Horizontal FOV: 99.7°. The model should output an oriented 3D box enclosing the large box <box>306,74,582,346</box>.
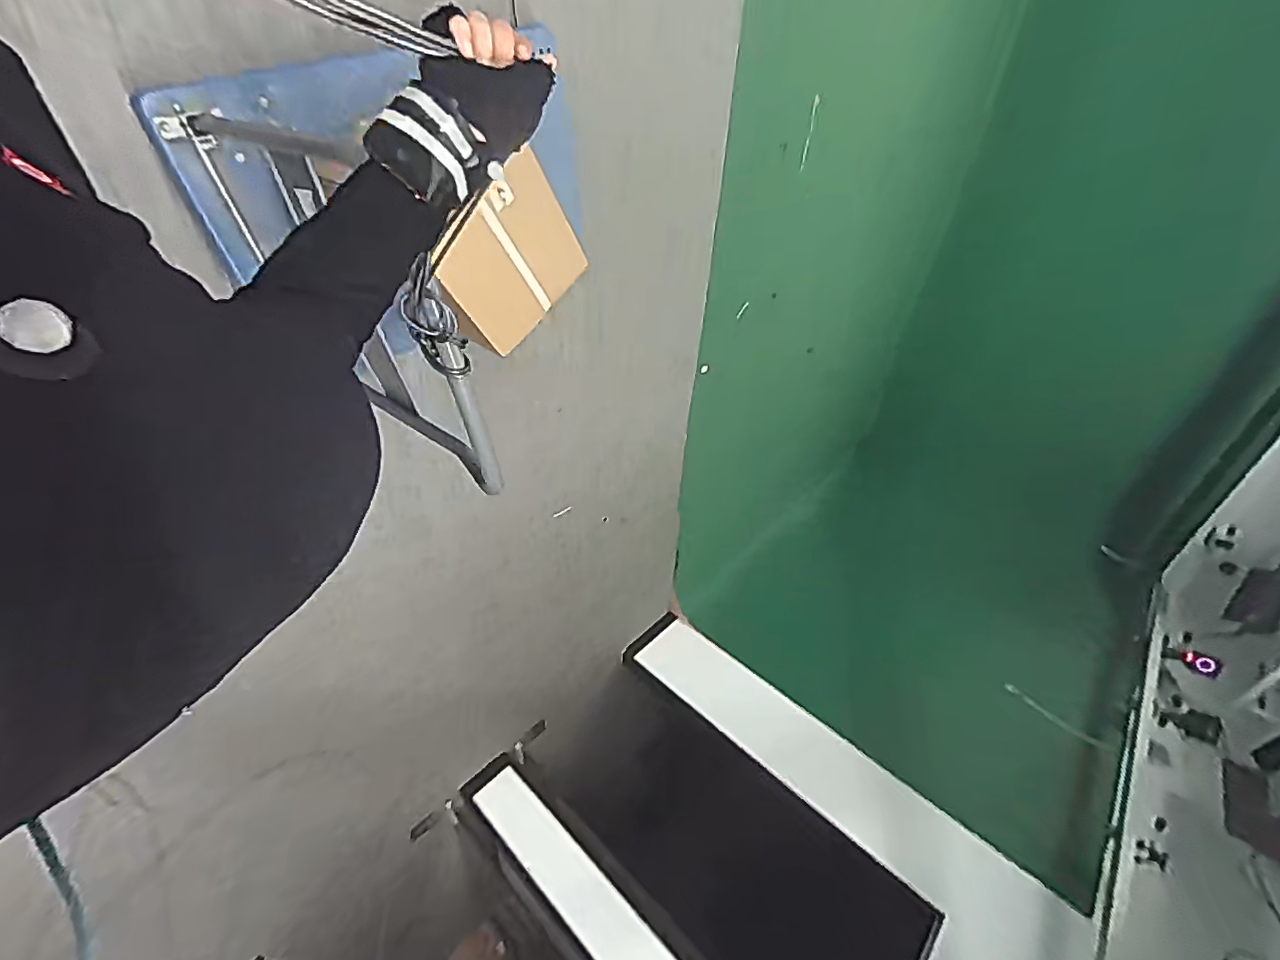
[{"bbox_3d":[-0.401,-0.572,1.173,0.320,0.320,0.408,-52,147,-11],"label":"large box"}]
